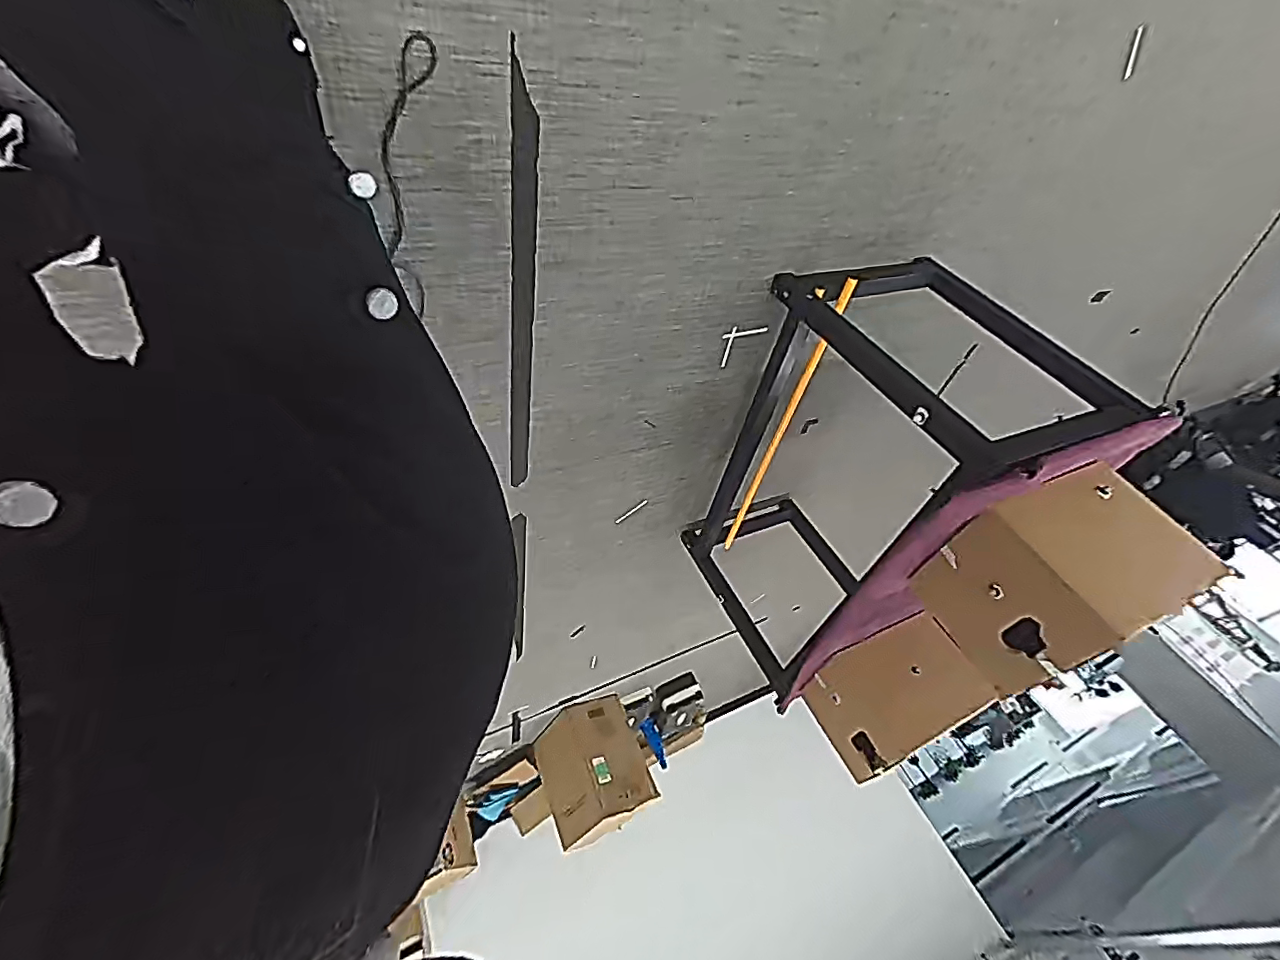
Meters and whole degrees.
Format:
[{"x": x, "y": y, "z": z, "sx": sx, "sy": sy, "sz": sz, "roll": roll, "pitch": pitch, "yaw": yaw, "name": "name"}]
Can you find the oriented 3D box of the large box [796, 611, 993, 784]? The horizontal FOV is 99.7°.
[{"x": 0.777, "y": 0.673, "z": 1.701, "sx": 0.408, "sy": 0.320, "sz": 0.320, "roll": -16, "pitch": 144, "yaw": -24, "name": "large box"}]
